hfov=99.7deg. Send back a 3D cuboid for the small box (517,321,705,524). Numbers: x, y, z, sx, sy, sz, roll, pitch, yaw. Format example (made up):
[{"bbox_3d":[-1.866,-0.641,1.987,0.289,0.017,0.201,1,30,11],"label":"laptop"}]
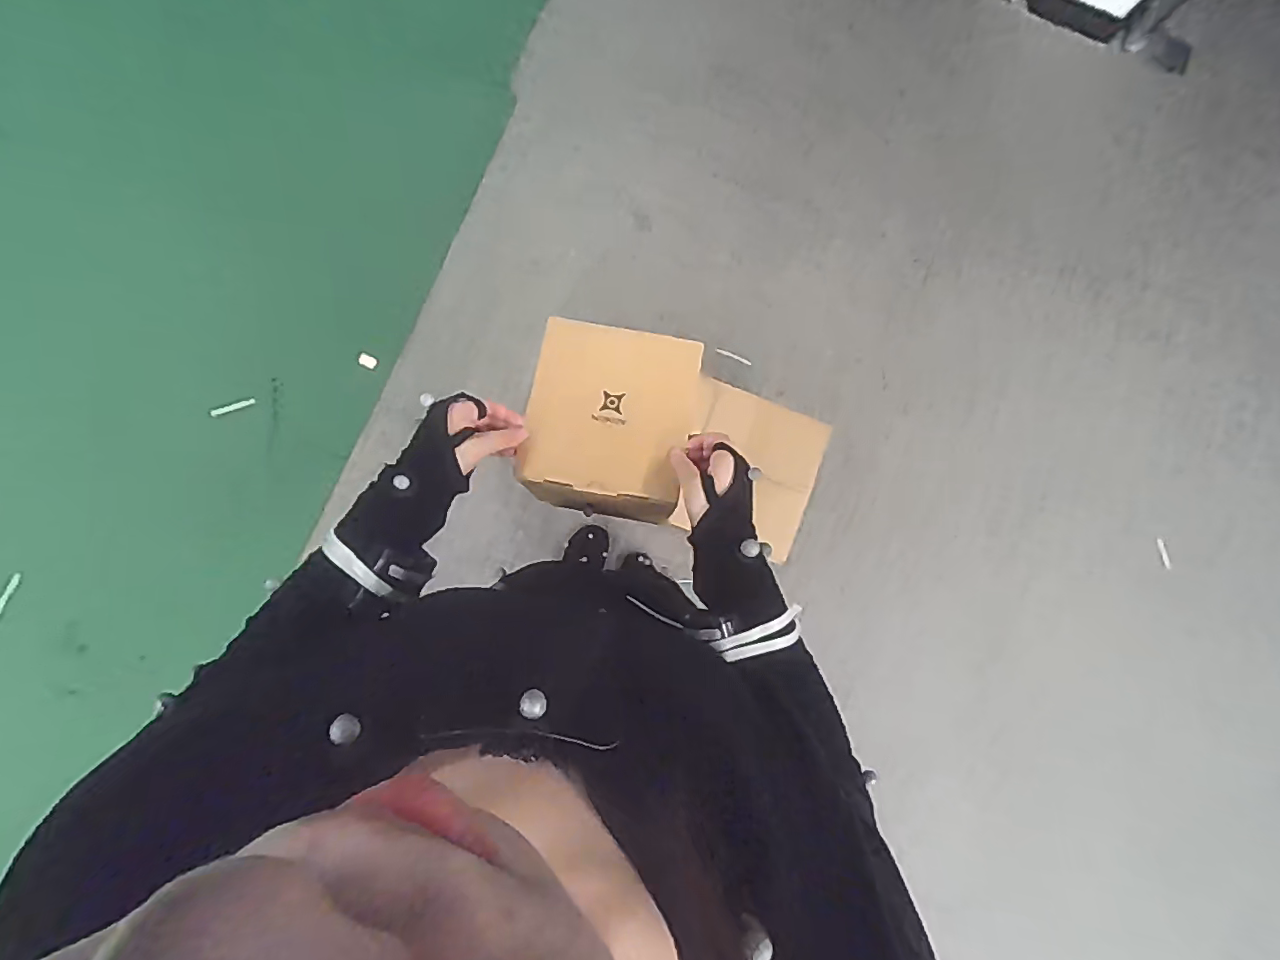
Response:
[{"bbox_3d":[-0.030,-0.054,0.623,0.168,0.176,0.179,10,80,1],"label":"small box"}]
